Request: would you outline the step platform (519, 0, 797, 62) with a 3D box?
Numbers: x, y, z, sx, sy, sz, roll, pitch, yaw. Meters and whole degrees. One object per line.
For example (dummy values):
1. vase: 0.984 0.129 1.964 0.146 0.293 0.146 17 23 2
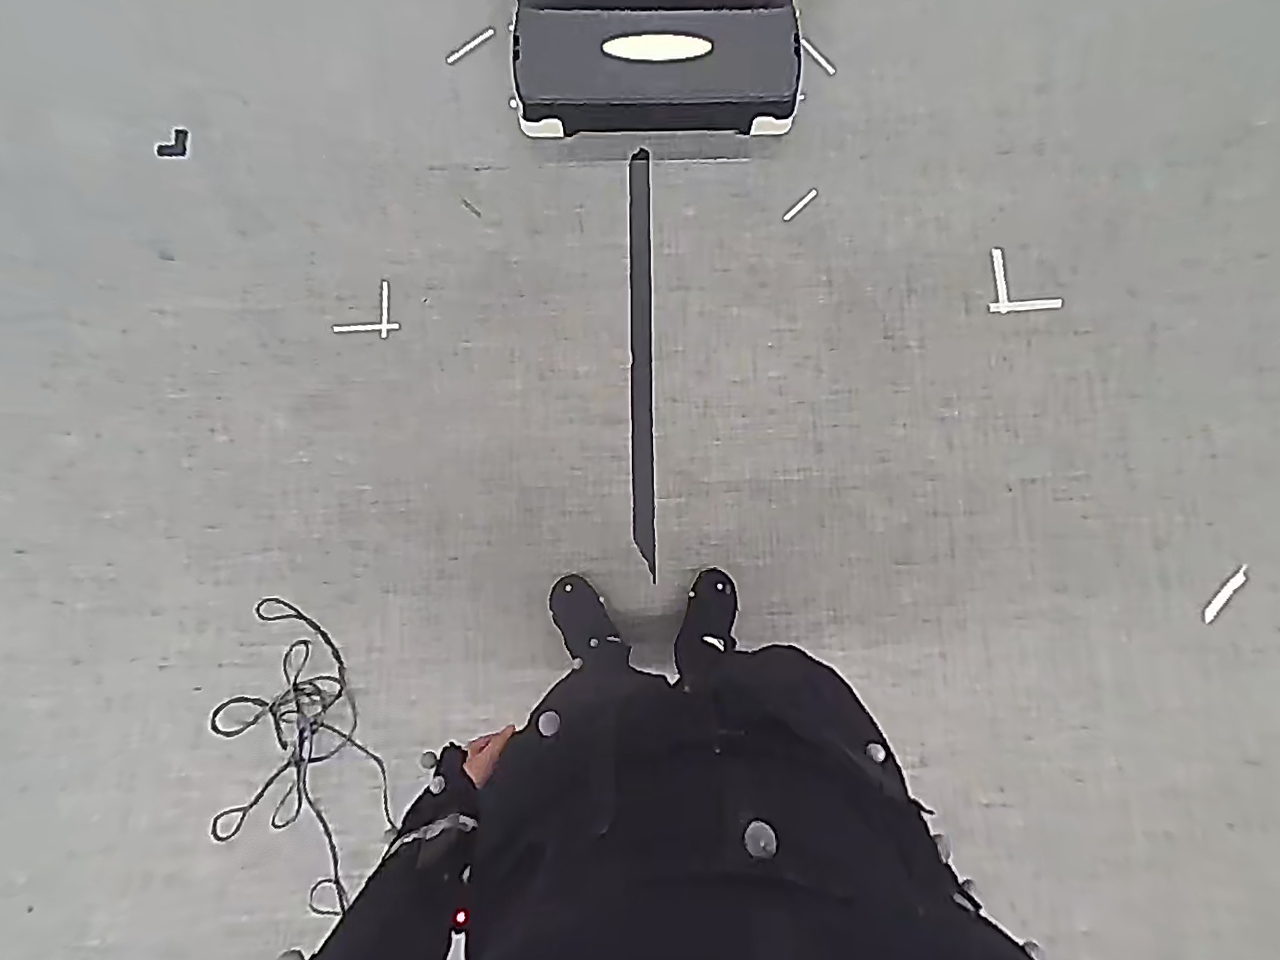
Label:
1. step platform: 0.046 -1.235 1.308 0.684 0.204 0.286 3 83 -1
